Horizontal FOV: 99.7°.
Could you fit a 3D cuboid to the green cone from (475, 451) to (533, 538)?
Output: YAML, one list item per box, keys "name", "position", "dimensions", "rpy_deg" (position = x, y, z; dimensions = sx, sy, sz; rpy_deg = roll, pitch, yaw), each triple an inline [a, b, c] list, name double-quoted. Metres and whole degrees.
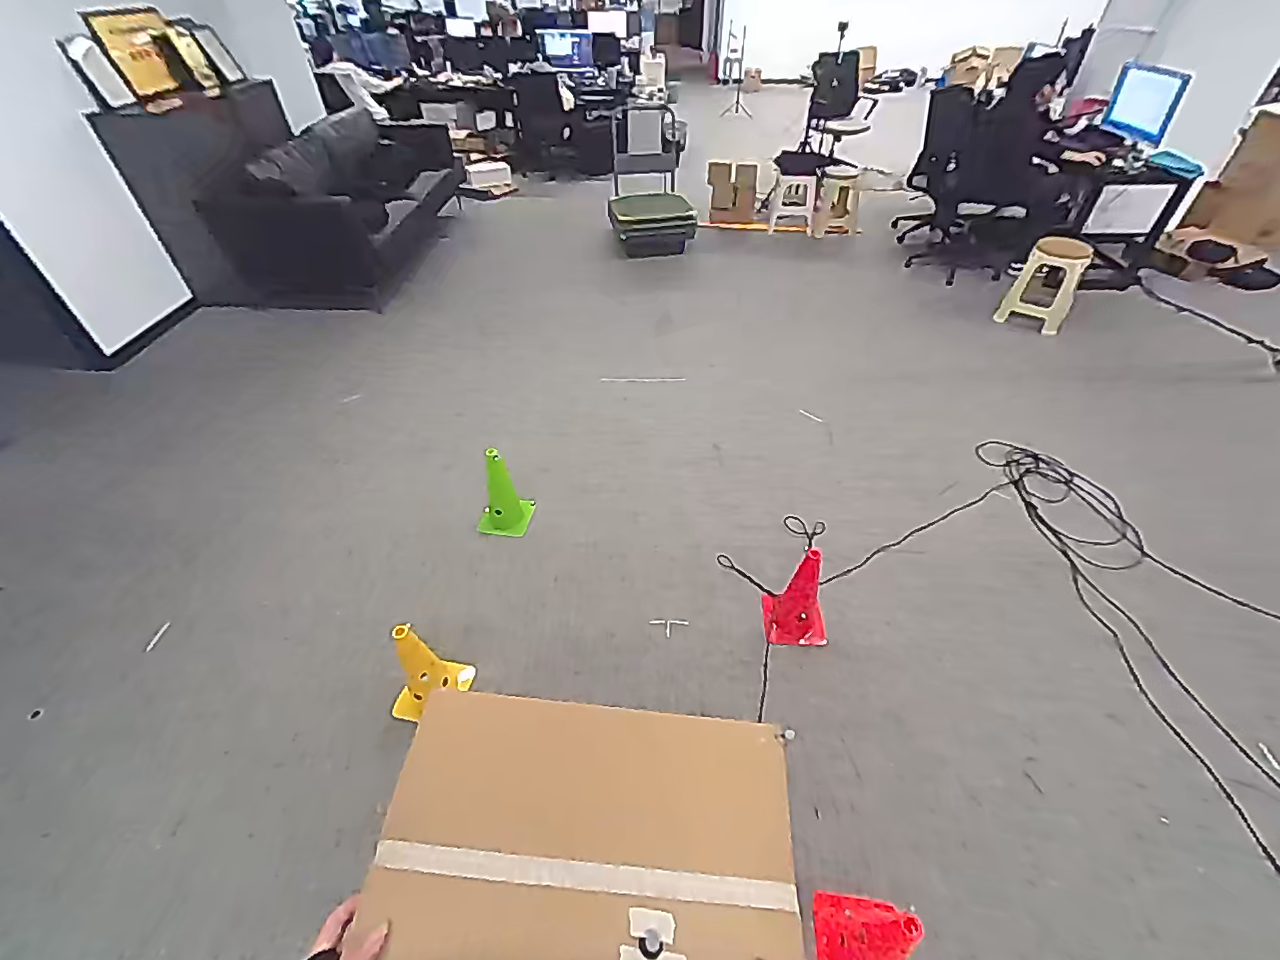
- name: "green cone"
  position: [-0.563, 0.032, 2.107]
  dimensions: [0.200, 0.368, 0.202]
  rpy_deg: [5, 45, 6]

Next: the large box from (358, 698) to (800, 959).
- name: "large box"
  position: [-0.058, 0.481, 0.637]
  dimensions: [0.408, 0.320, 0.320]
  rpy_deg: [6, 50, 0]

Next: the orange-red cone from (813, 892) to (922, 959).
- name: "orange-red cone"
  position: [0.500, 0.954, 1.114]
  dimensions: [0.199, 0.360, 0.198]
  rpy_deg: [7, 45, 6]
